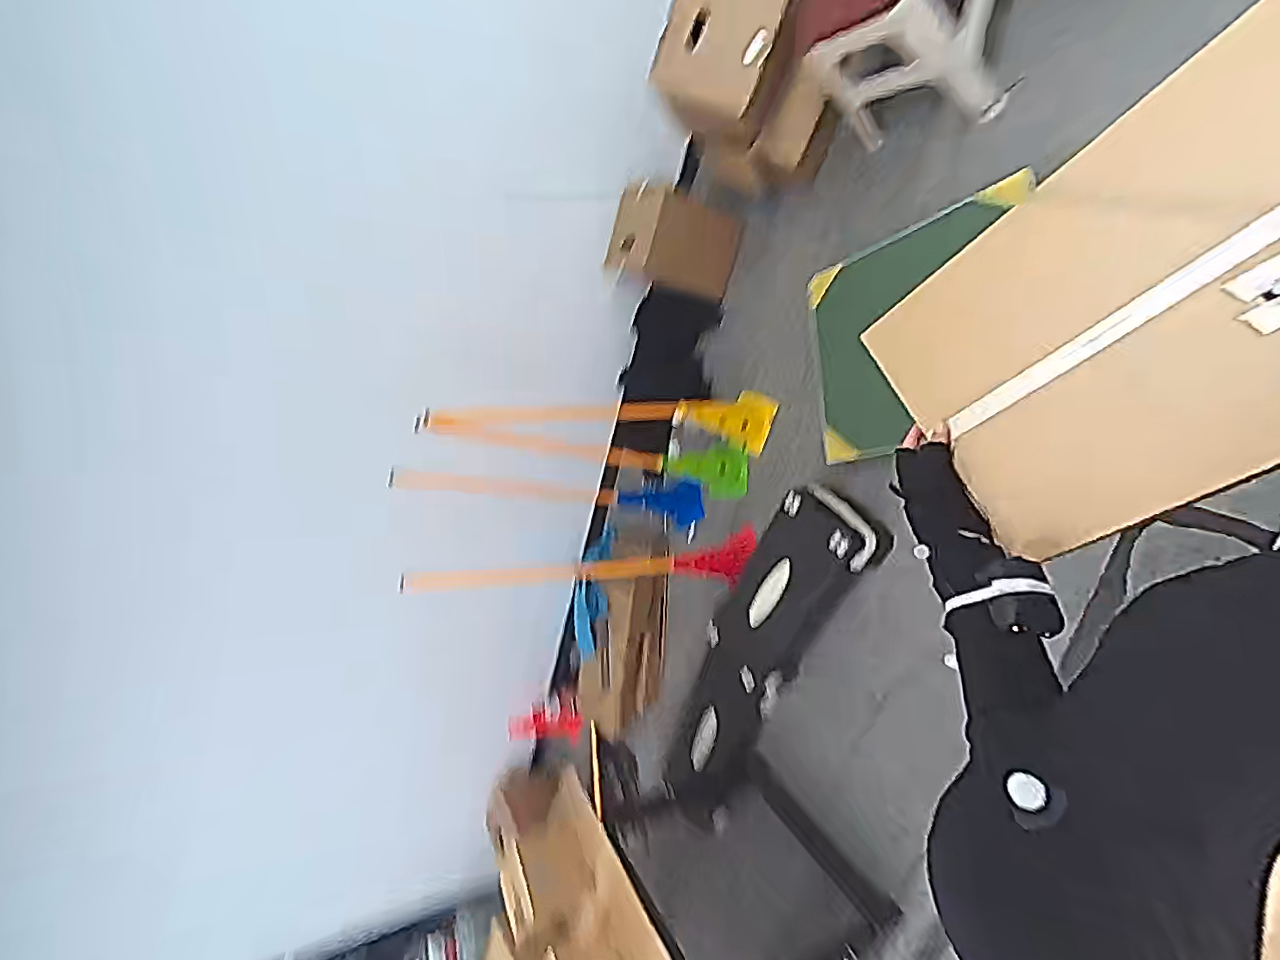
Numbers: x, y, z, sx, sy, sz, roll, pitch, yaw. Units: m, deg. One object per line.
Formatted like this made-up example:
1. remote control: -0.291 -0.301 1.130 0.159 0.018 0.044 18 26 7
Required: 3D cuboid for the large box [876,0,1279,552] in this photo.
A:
1. large box: 0.560 -0.153 0.580 0.408 0.320 0.320 -41 61 40
